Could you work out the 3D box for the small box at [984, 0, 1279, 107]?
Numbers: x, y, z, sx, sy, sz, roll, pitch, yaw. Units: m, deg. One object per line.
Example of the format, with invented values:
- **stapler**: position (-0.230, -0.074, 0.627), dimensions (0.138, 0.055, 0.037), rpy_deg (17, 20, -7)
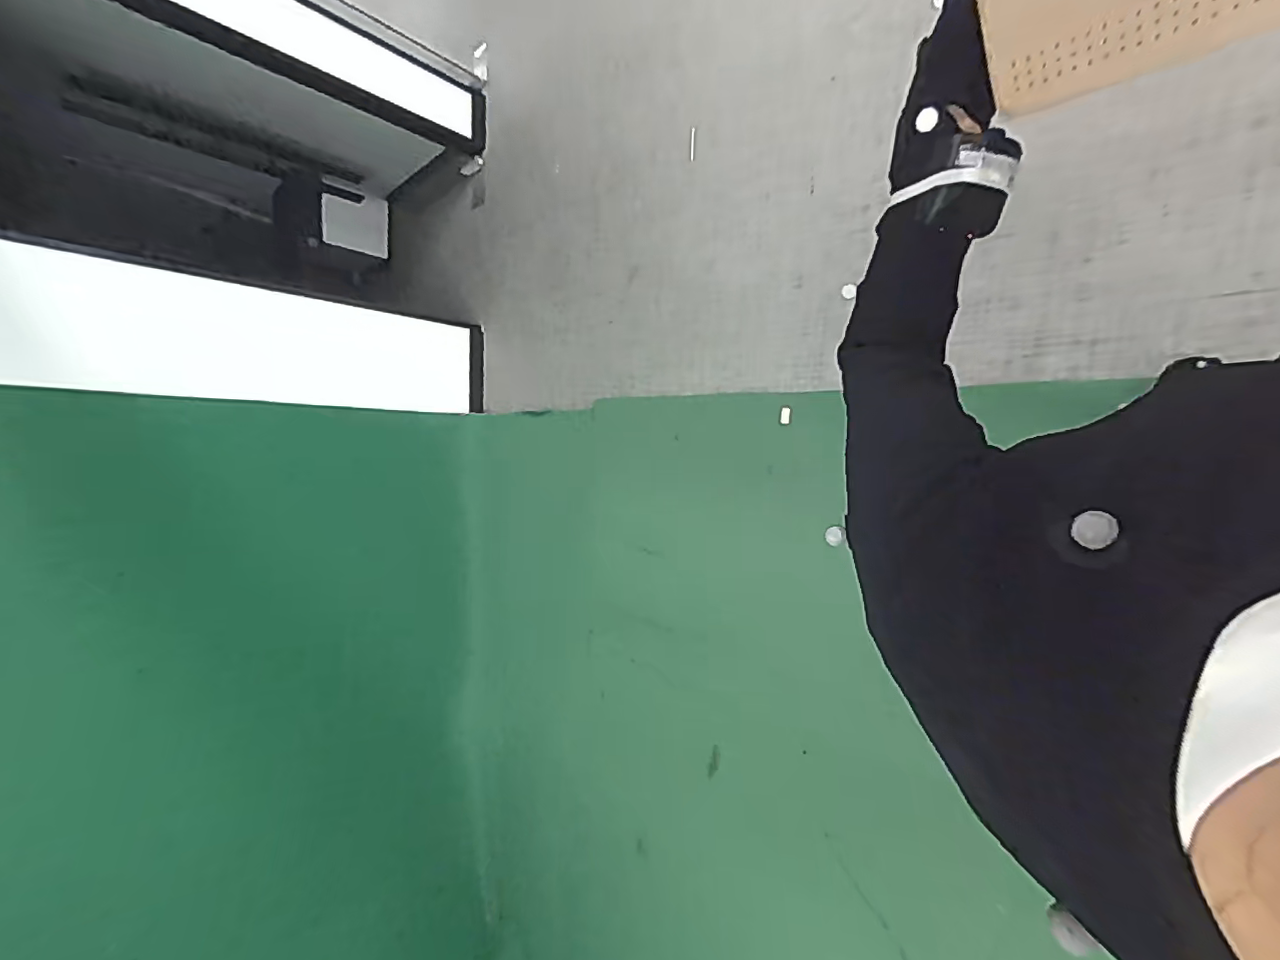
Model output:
- **small box**: position (0.278, -0.321, 0.246), dimensions (0.168, 0.176, 0.179), rpy_deg (-49, 32, -20)
